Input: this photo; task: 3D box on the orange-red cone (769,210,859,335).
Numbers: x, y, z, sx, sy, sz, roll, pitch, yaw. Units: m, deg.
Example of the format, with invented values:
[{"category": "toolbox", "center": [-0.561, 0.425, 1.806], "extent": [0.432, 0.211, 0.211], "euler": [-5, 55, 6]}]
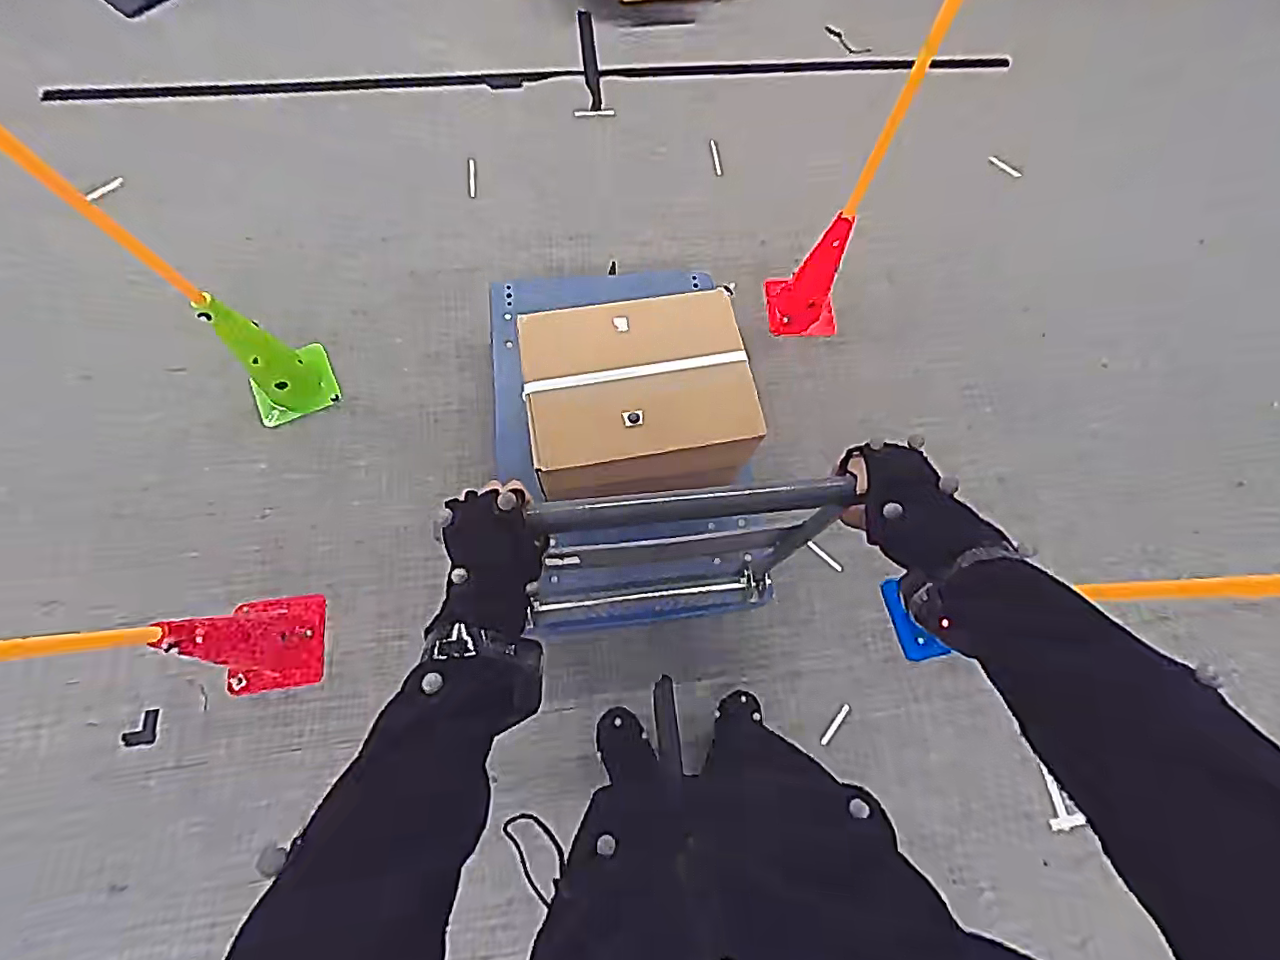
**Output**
[{"category": "orange-red cone", "center": [0.497, -0.575, 1.454], "extent": [0.199, 0.360, 0.198], "euler": [1, 71, -4]}]

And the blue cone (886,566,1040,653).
[{"category": "blue cone", "center": [0.733, 0.265, 1.191], "extent": [0.193, 0.380, 0.192], "euler": [-9, 70, -7]}]
